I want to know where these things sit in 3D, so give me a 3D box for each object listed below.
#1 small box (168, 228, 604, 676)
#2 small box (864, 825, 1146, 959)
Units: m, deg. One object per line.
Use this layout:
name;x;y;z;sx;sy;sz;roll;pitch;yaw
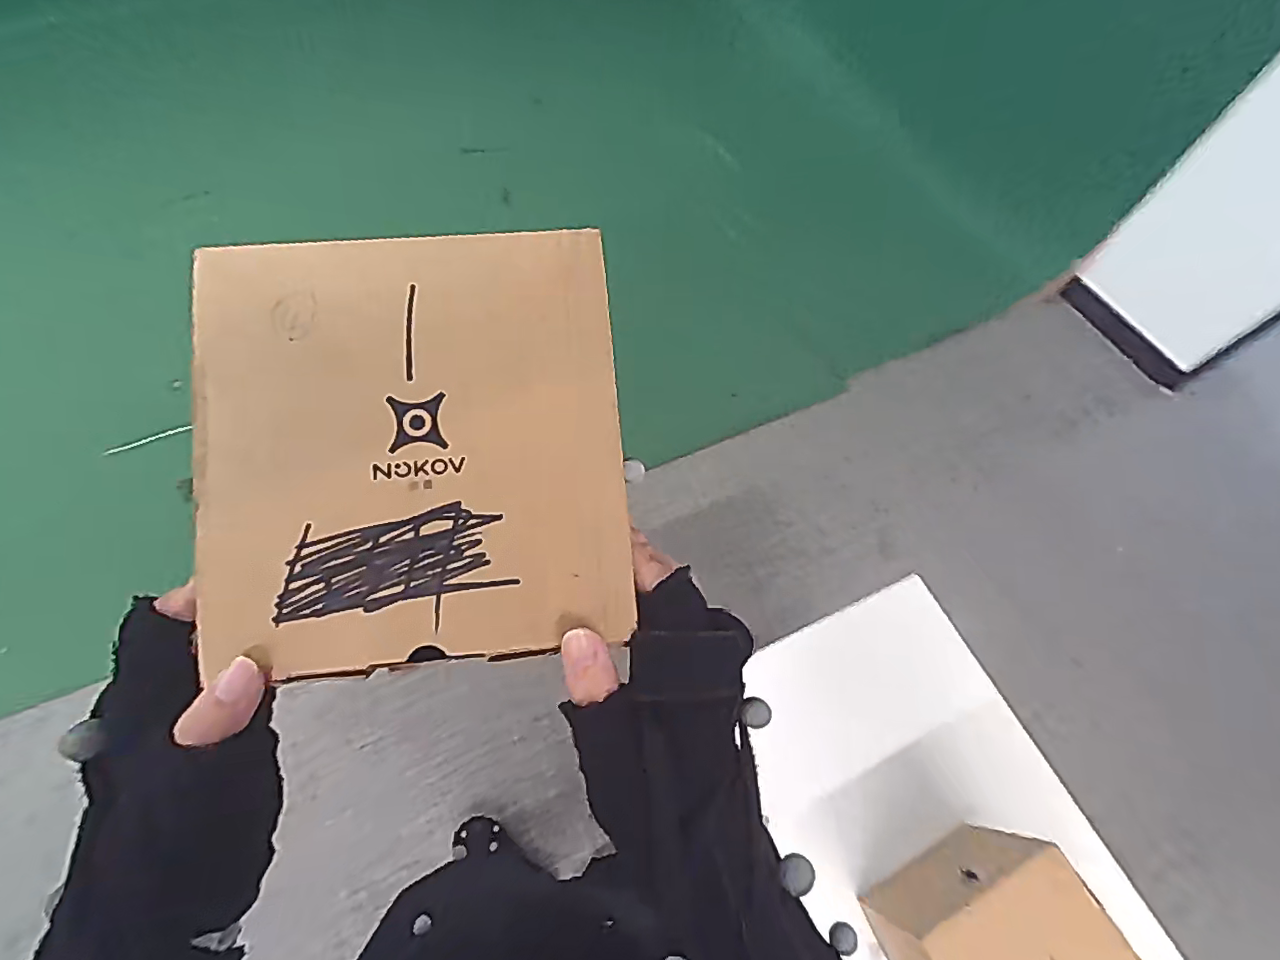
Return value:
small box;-0.109;-0.008;0.299;0.168;0.176;0.179;-5;83;-5
small box;0.366;0.481;0.546;0.179;0.176;0.168;-24;66;-11
